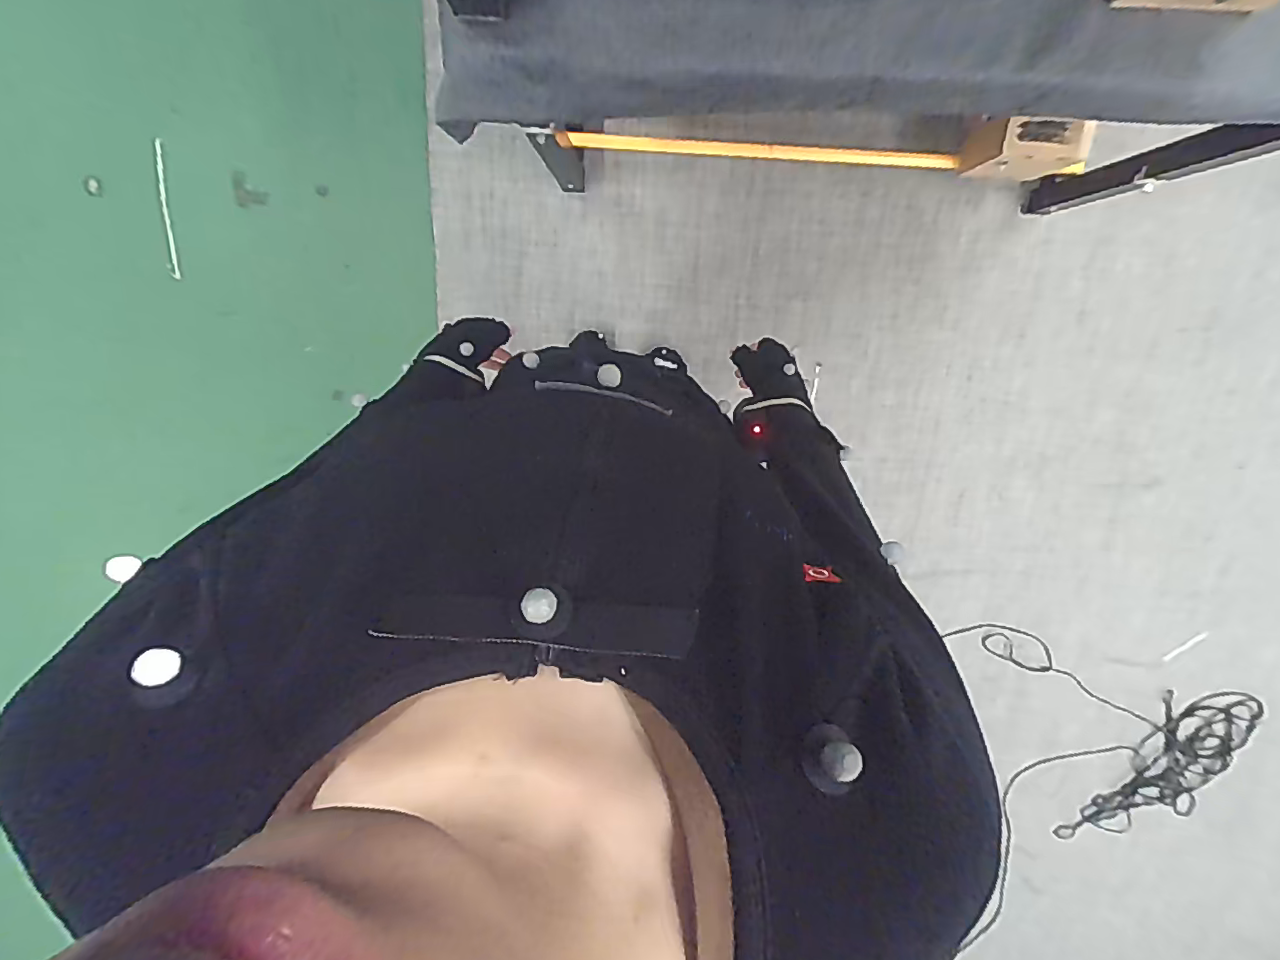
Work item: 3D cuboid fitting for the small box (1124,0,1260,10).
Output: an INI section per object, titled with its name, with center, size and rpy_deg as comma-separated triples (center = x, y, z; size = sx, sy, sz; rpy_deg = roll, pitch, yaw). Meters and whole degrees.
[small box]
center = 0.591, -0.581, 0.489
size = 0.168, 0.176, 0.179
rpy_deg = 2, 104, 1
